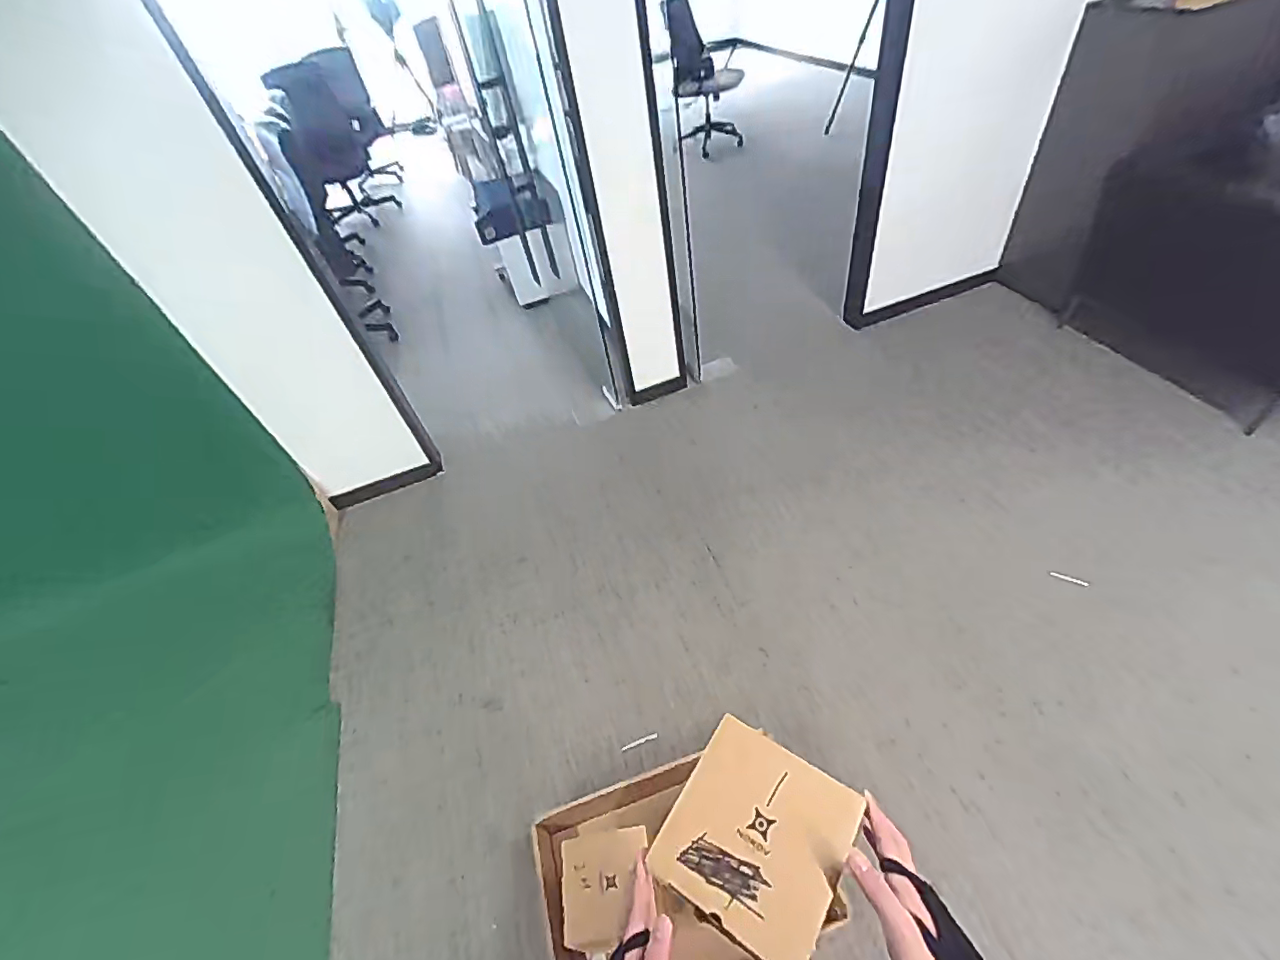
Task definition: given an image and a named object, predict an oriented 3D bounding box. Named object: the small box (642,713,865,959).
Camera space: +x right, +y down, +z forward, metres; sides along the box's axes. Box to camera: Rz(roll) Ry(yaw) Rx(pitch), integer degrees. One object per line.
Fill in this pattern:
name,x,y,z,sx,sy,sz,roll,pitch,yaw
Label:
small box,0.126,0.403,0.596,0.168,0.176,0.179,24,56,28
